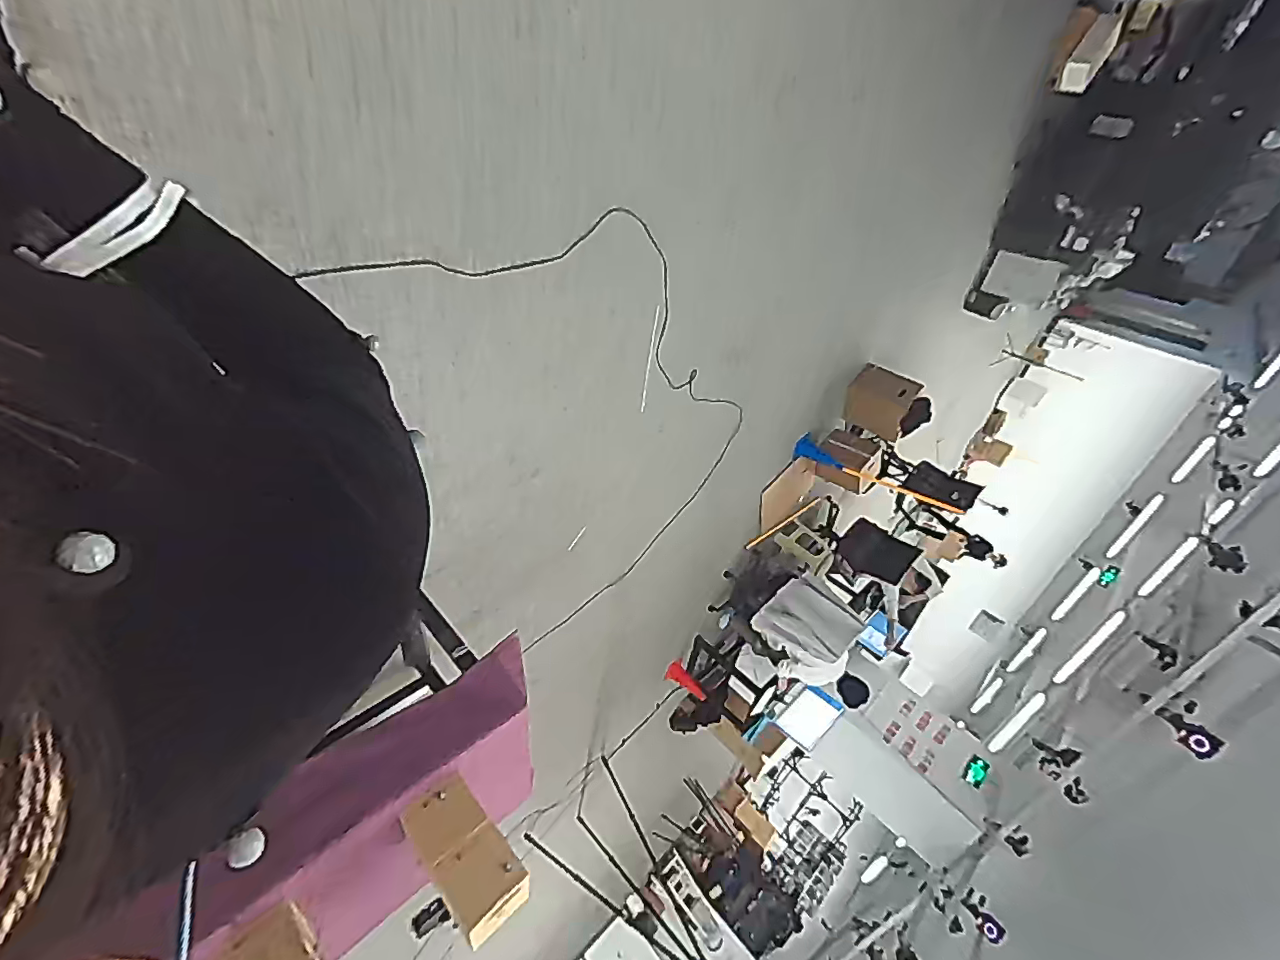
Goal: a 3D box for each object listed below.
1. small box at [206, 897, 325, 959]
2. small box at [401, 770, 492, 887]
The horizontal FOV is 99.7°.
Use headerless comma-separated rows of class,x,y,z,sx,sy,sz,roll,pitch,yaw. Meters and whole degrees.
small box,-0.815,1.079,1.196,0.168,0.176,0.179,-28,141,-37
small box,-0.514,0.922,1.444,0.168,0.176,0.179,-26,138,-38
